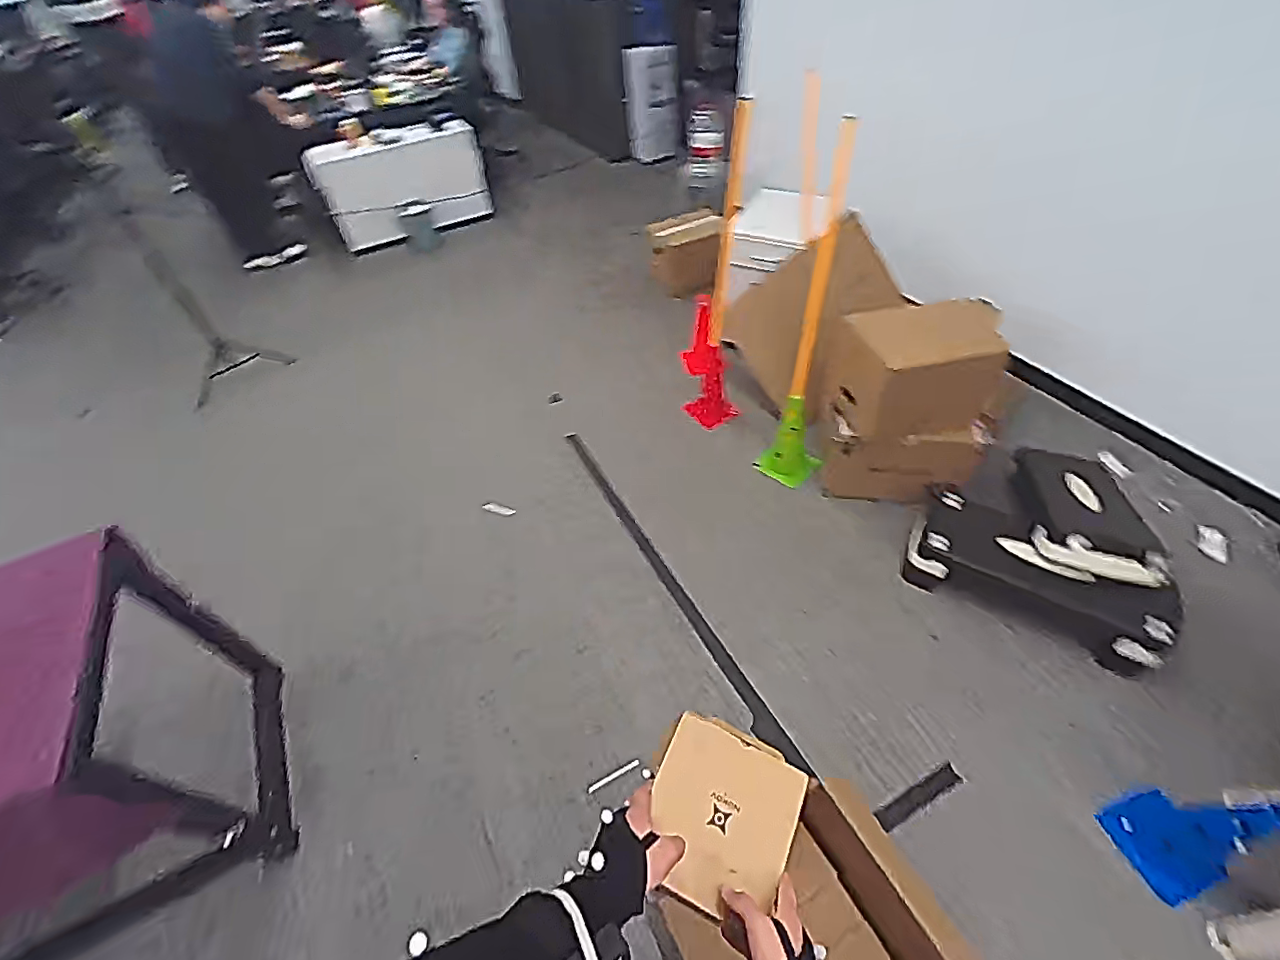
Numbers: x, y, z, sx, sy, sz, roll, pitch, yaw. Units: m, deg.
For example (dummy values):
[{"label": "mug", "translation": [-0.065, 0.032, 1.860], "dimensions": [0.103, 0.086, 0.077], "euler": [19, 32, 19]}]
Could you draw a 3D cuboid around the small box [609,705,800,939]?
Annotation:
[{"label": "small box", "translation": [0.072, 0.418, 0.675], "dimensions": [0.168, 0.176, 0.179], "euler": [27, 56, 9]}]
